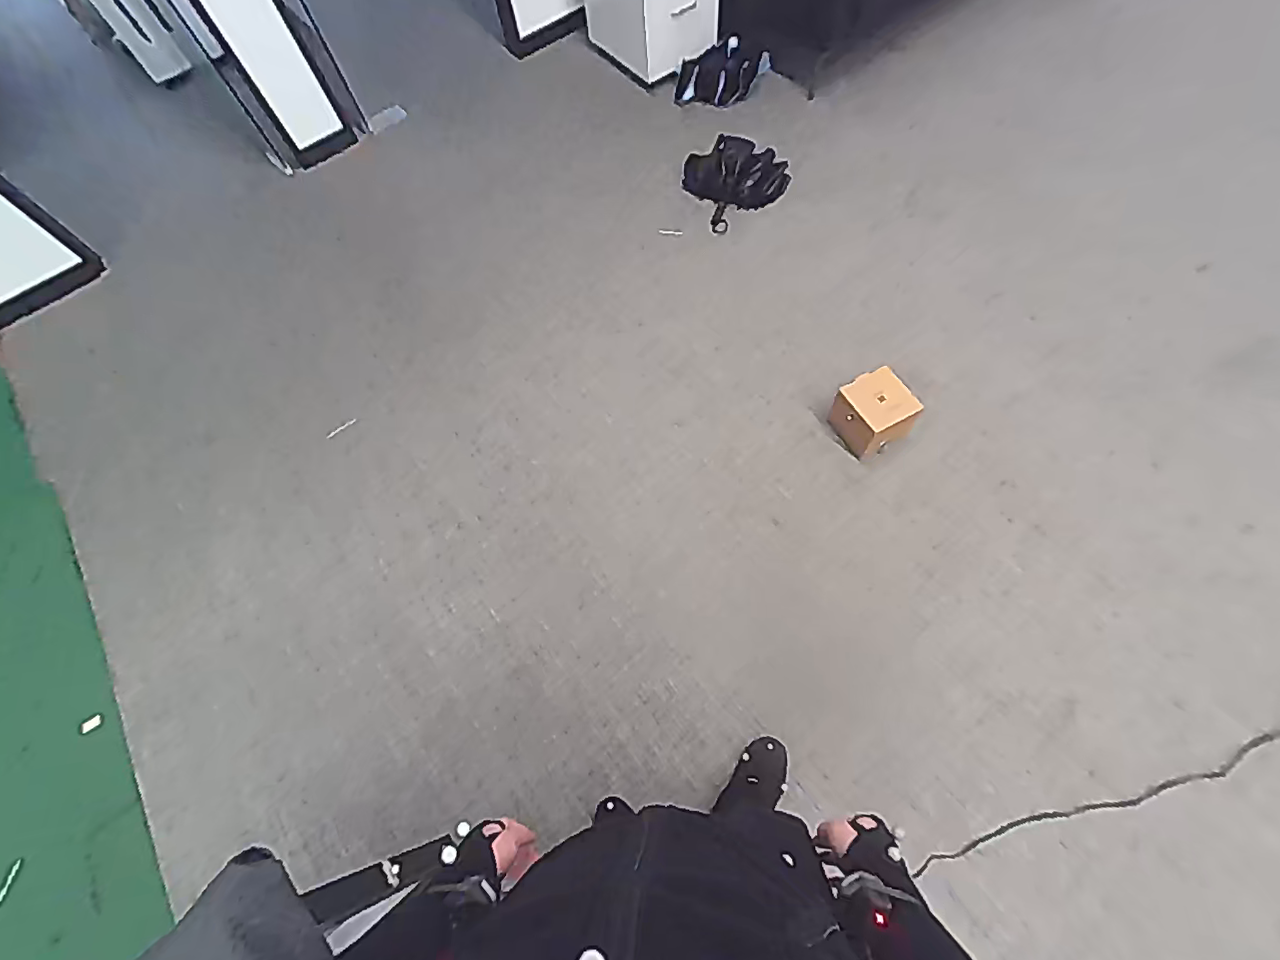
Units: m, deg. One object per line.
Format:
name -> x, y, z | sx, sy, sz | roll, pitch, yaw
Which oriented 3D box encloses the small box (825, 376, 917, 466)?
small box -> 0.684, -0.173, 1.628 | 0.168, 0.176, 0.179 | -27, 66, -7
